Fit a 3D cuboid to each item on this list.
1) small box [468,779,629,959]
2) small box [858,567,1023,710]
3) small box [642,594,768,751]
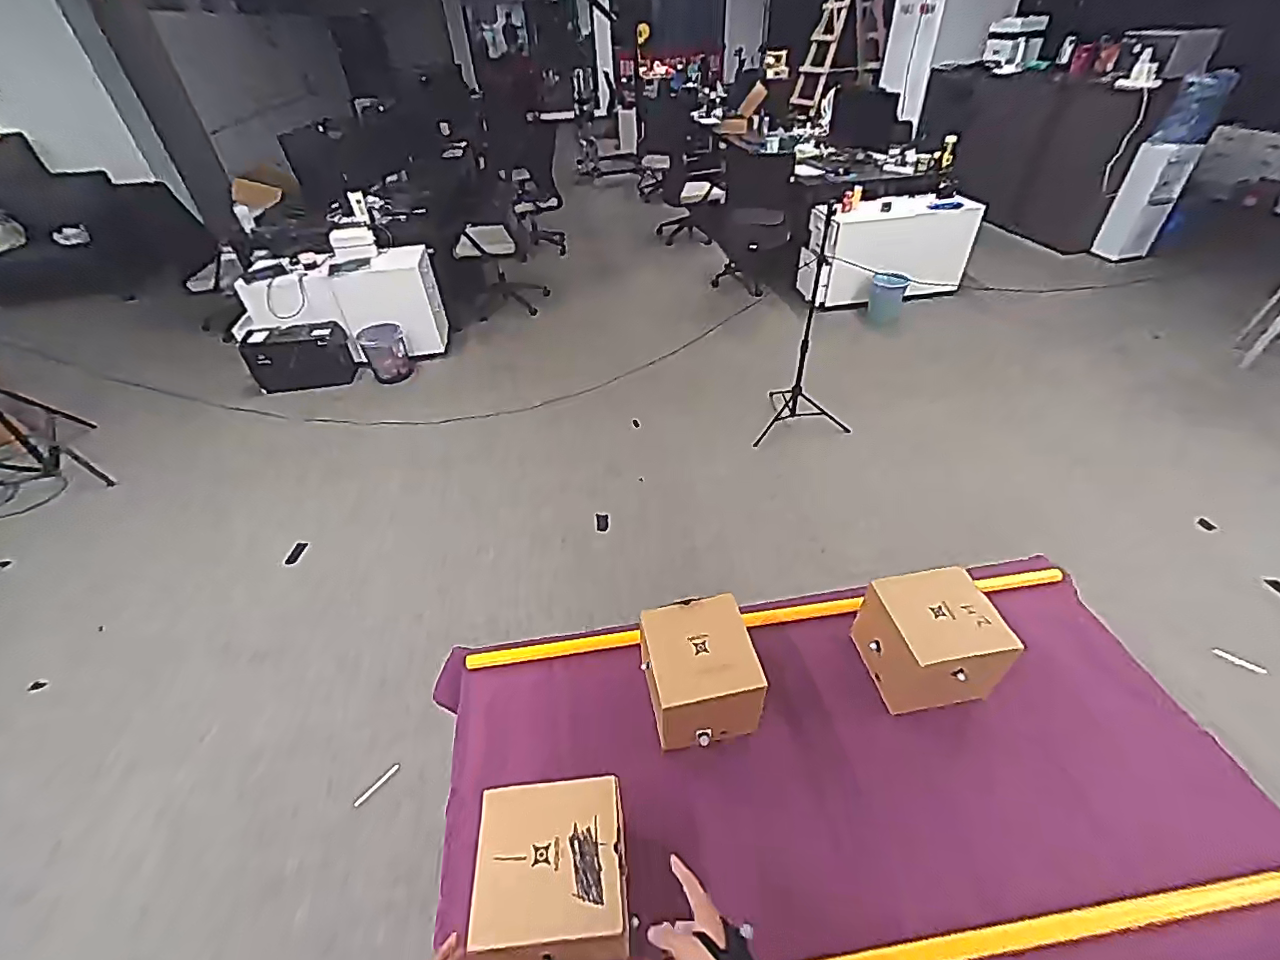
[{"bbox_3d":[-0.105,0.512,0.701,0.179,0.176,0.168,-5,41,-2],"label":"small box"},{"bbox_3d":[0.498,0.276,0.935,0.179,0.176,0.168,-8,42,-5],"label":"small box"},{"bbox_3d":[0.100,0.323,0.910,0.168,0.176,0.179,-10,42,-6],"label":"small box"}]
